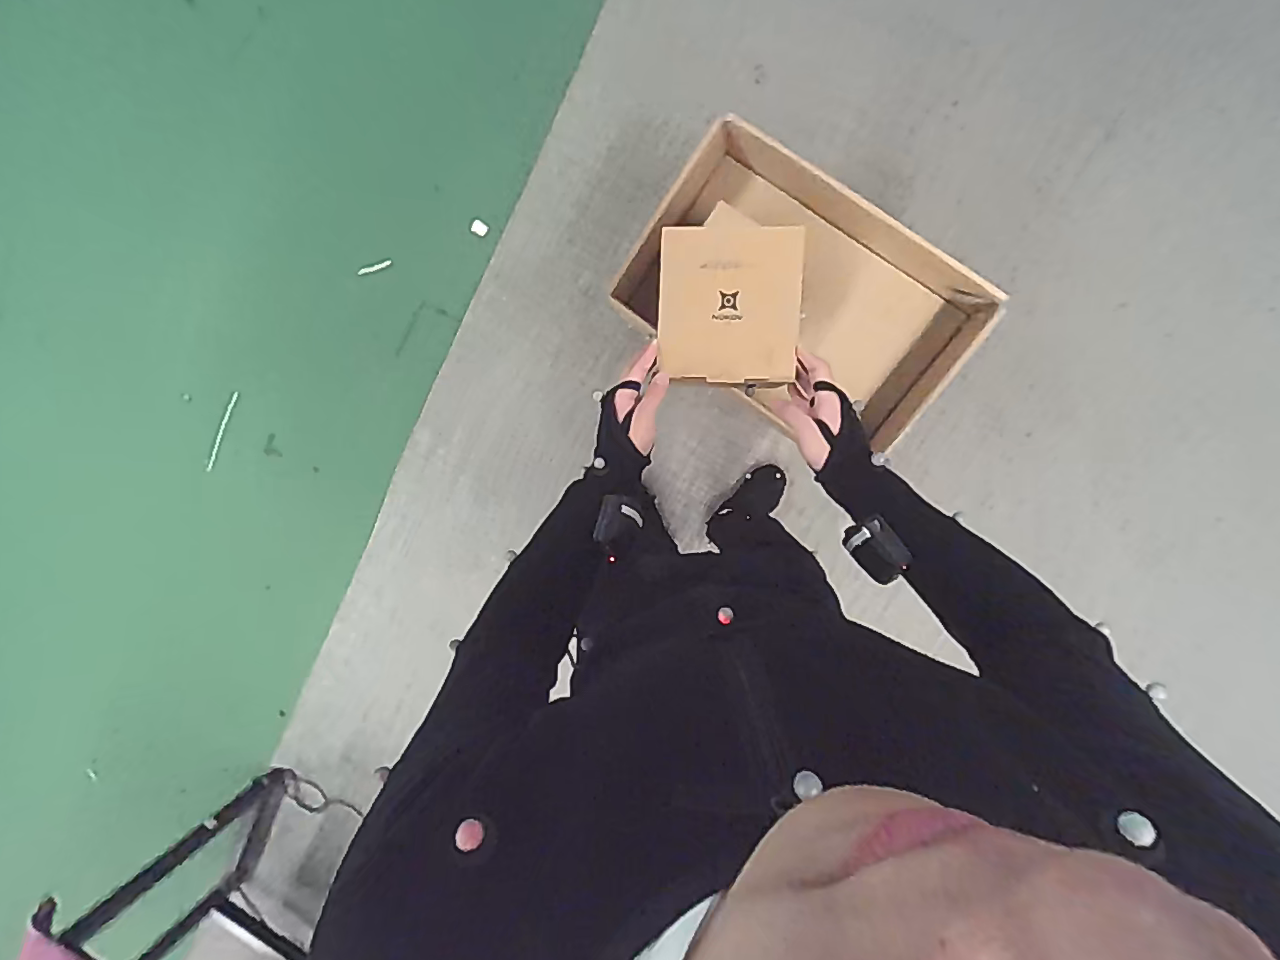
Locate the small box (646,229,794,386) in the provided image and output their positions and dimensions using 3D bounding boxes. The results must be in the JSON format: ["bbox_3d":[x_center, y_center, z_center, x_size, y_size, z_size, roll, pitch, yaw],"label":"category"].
[{"bbox_3d":[0.103,-0.216,0.715,0.168,0.176,0.179,3,98,7],"label":"small box"}]
